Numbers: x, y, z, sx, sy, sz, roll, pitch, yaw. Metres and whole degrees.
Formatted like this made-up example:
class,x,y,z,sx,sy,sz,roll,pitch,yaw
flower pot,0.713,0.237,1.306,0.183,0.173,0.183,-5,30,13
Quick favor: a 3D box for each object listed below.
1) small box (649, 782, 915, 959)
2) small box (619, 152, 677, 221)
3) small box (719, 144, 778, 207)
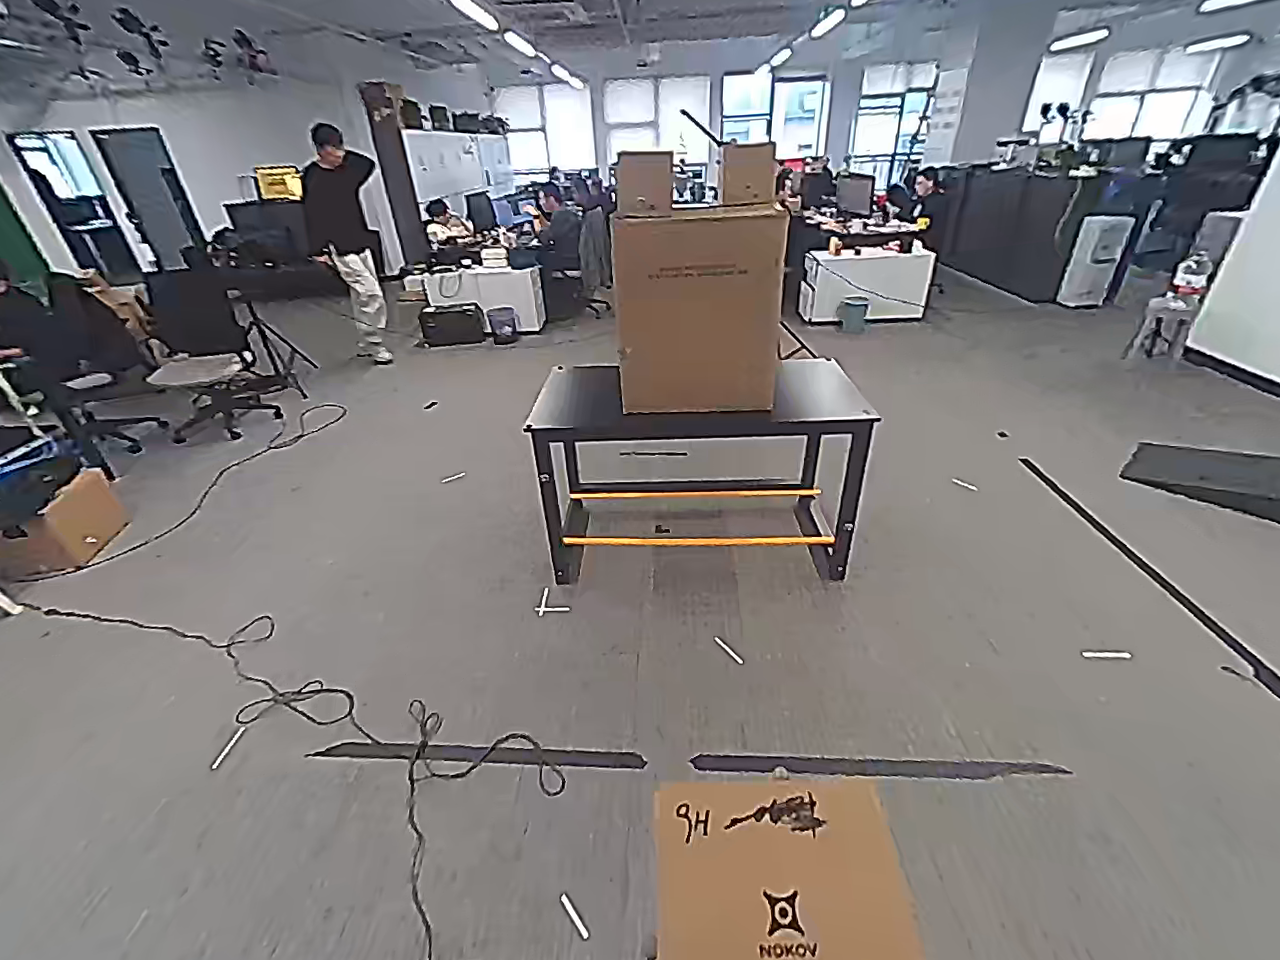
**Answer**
class,x,y,z,sx,sy,sz,roll,pitch,yaw
small box,0.095,0.344,0.404,0.168,0.176,0.179,-3,47,2
small box,0.025,-0.885,1.626,0.168,0.176,0.179,0,33,2
small box,0.348,-0.990,1.764,0.168,0.176,0.179,-3,29,4
